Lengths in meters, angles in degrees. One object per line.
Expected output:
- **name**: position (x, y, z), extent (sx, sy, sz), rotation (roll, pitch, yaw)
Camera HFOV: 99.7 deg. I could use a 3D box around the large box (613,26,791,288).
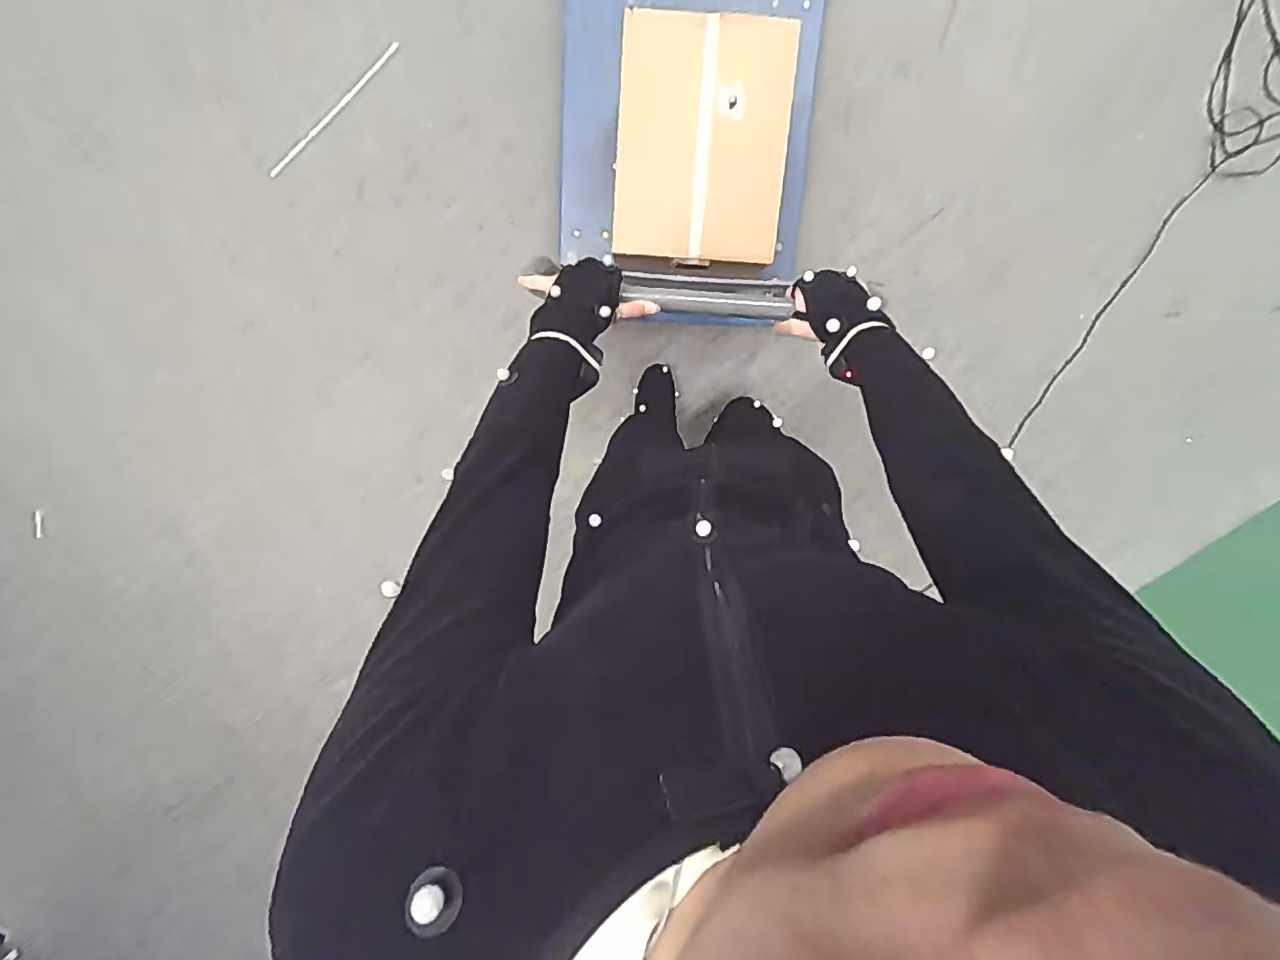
- **large box**: position (0.114, -0.646, 1.160), extent (0.320, 0.320, 0.408), rotation (4, 102, -1)
